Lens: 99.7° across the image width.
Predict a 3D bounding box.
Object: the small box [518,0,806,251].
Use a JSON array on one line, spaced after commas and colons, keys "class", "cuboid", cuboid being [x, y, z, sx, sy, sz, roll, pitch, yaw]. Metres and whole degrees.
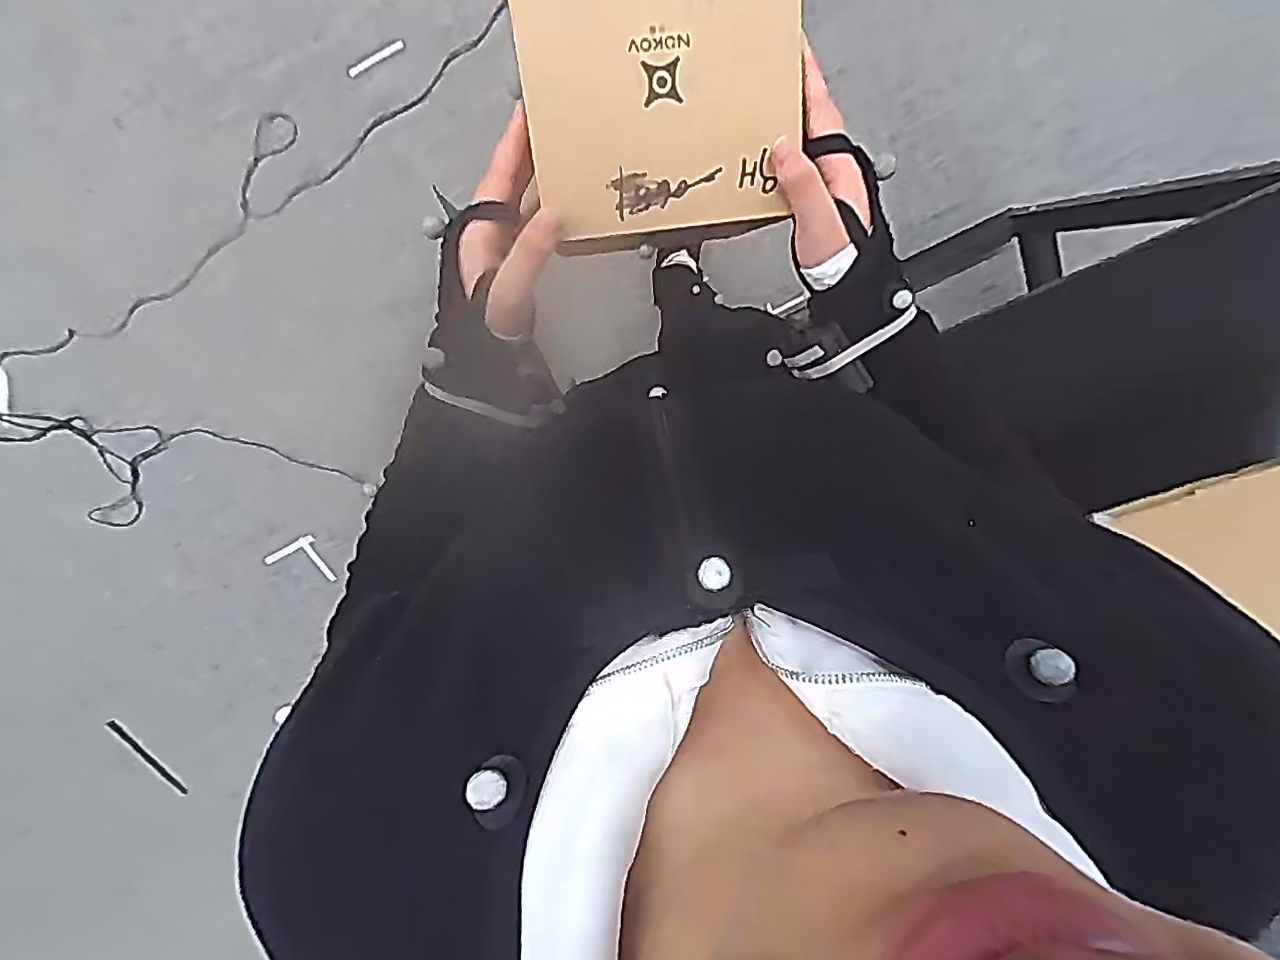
[{"class": "small box", "cuboid": [0.007, -0.271, 0.385, 0.168, 0.176, 0.179, -8, 109, -3]}]
